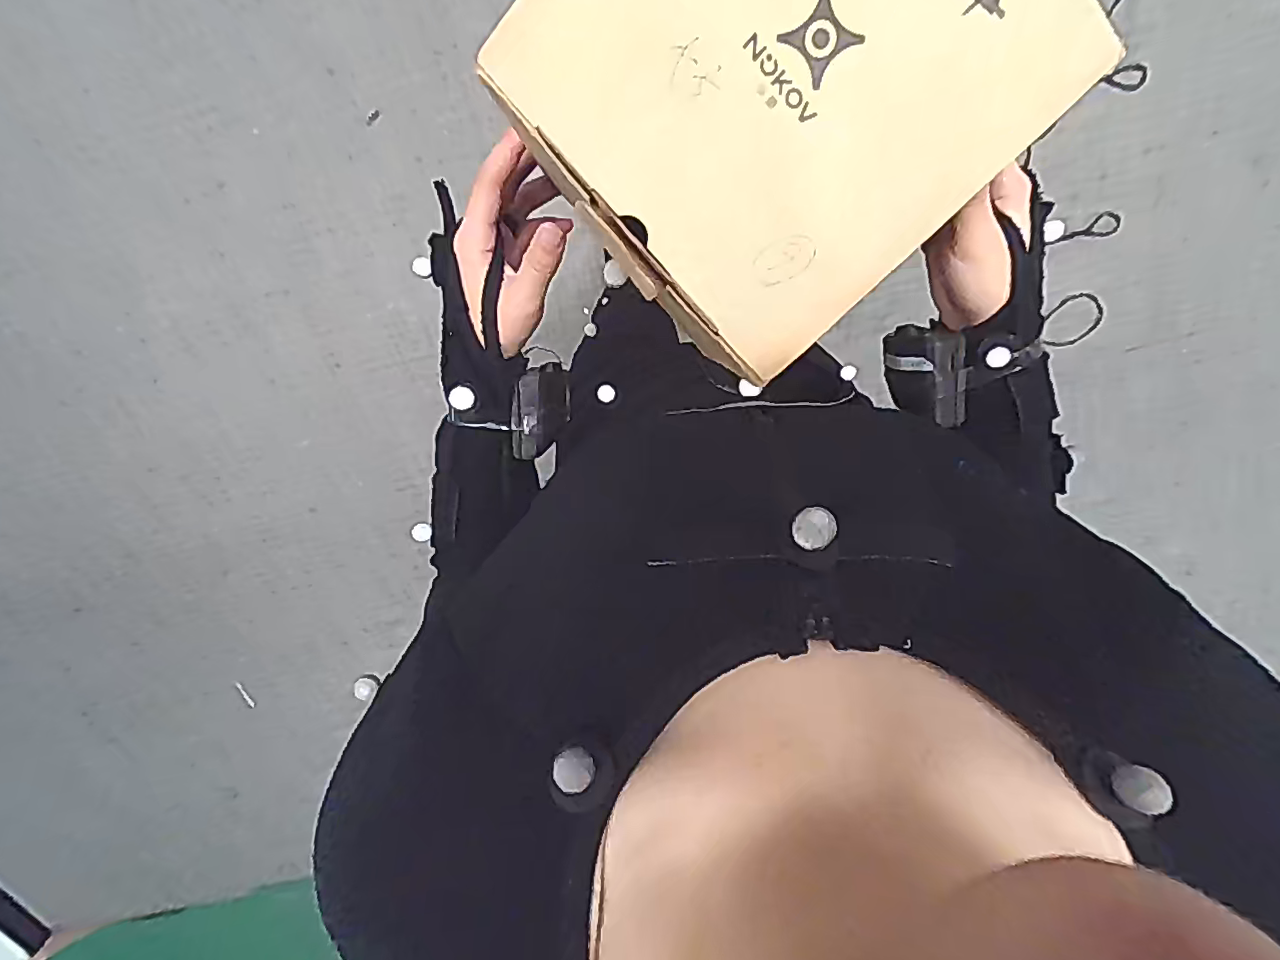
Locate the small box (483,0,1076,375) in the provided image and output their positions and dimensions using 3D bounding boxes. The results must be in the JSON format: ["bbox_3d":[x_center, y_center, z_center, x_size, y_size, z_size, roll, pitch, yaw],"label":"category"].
[{"bbox_3d":[0.054,-0.179,0.287,0.179,0.176,0.168,-43,102,11],"label":"small box"}]
